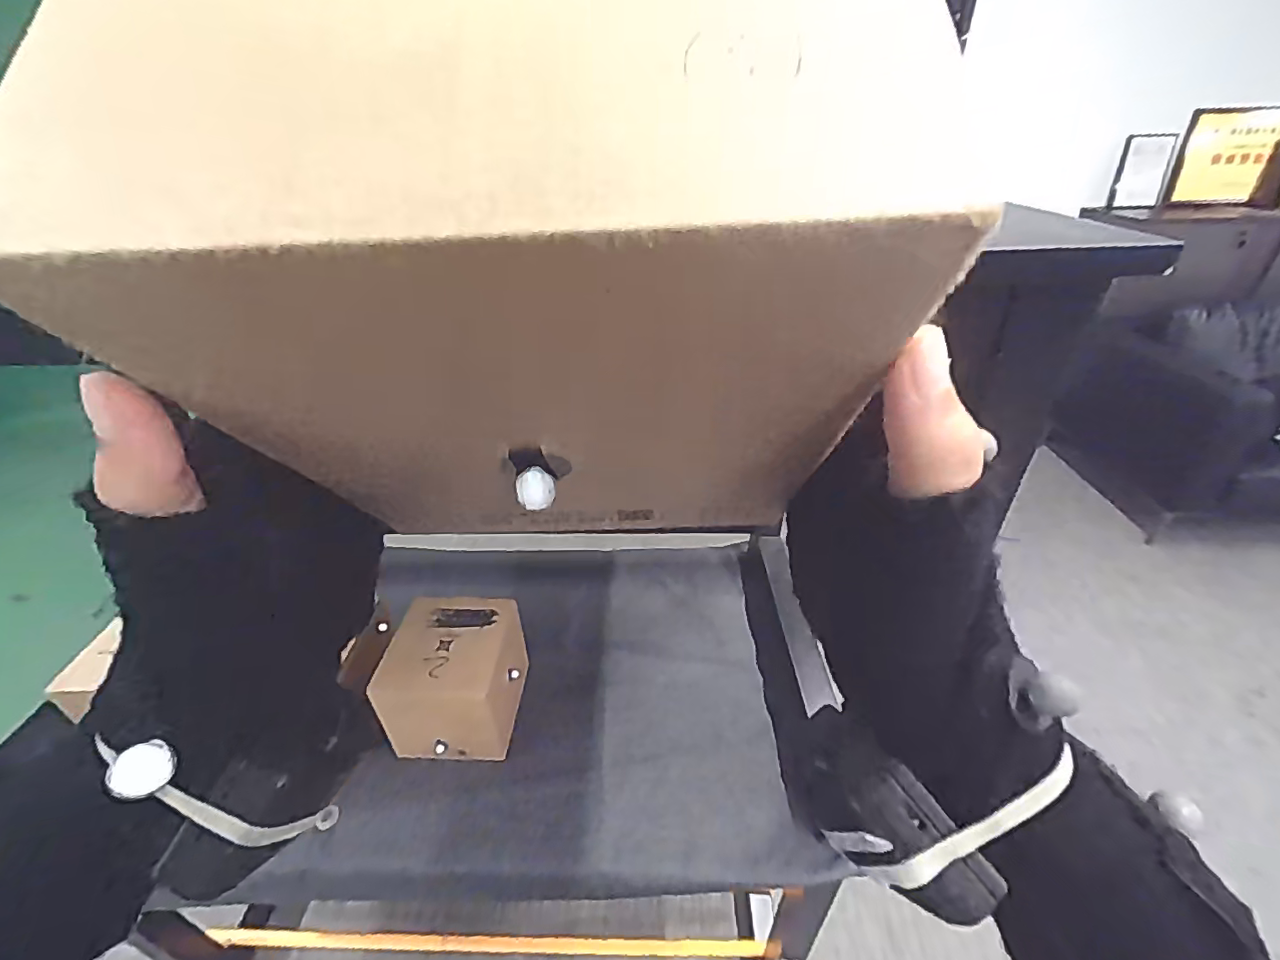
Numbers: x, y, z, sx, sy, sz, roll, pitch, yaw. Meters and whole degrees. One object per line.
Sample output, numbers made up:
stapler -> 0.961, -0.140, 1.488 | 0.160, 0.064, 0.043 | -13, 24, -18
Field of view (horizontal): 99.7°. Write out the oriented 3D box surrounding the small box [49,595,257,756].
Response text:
small box -> -0.723, 0.302, 0.845 | 0.168, 0.176, 0.179 | -2, 34, 0

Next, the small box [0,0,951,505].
small box -> -0.029, -0.093, 0.191 | 0.168, 0.176, 0.179 | -2, 69, 1
